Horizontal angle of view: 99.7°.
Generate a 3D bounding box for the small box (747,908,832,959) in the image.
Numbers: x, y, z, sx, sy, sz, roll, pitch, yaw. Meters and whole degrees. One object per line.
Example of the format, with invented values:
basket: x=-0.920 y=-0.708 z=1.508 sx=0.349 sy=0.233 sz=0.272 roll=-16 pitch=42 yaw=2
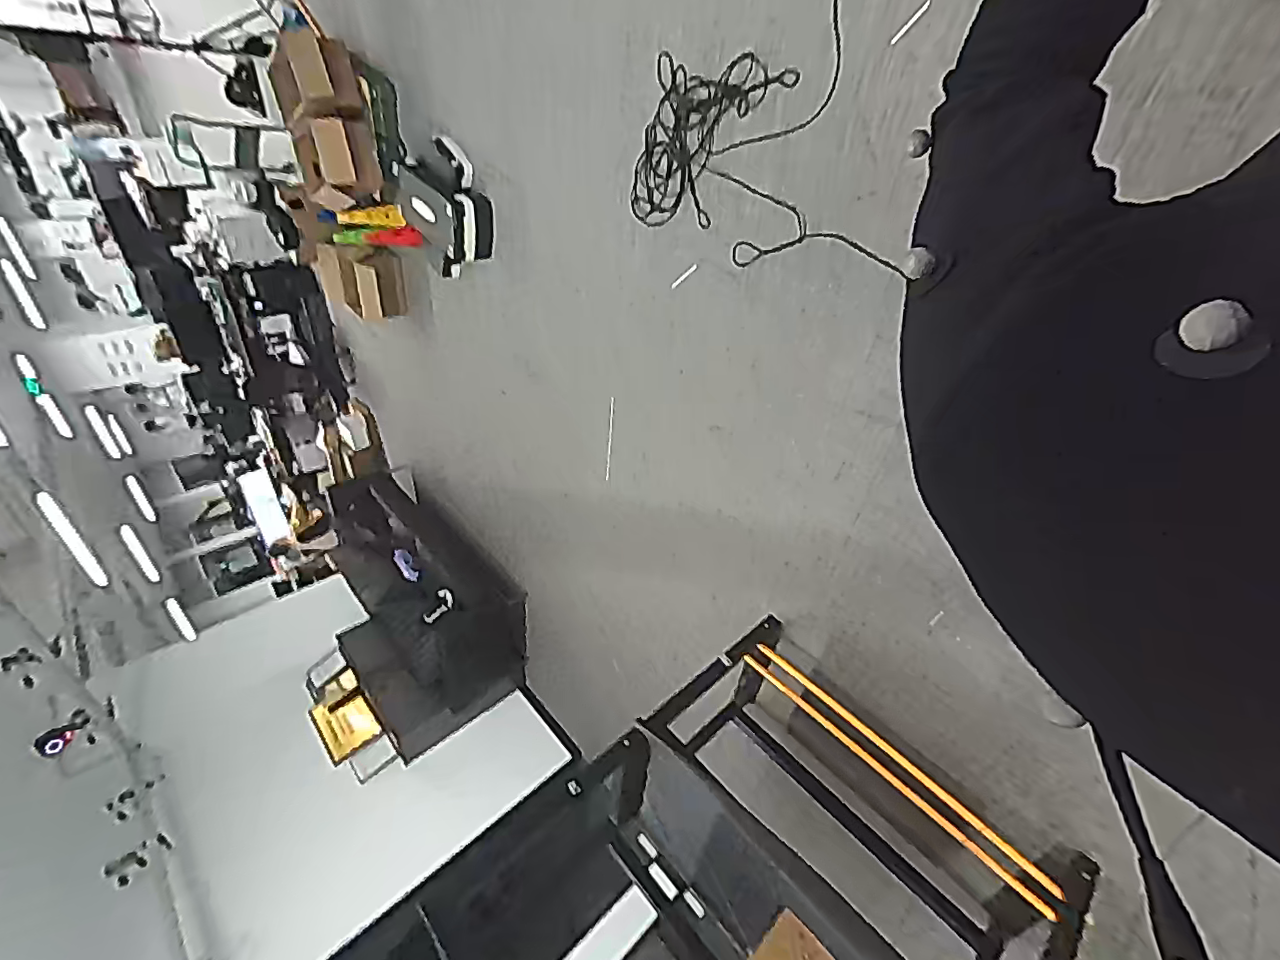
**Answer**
small box: x=0.386 y=1.293 z=1.426 sx=0.168 sy=0.176 sz=0.179 roll=33 pitch=133 yaw=34
